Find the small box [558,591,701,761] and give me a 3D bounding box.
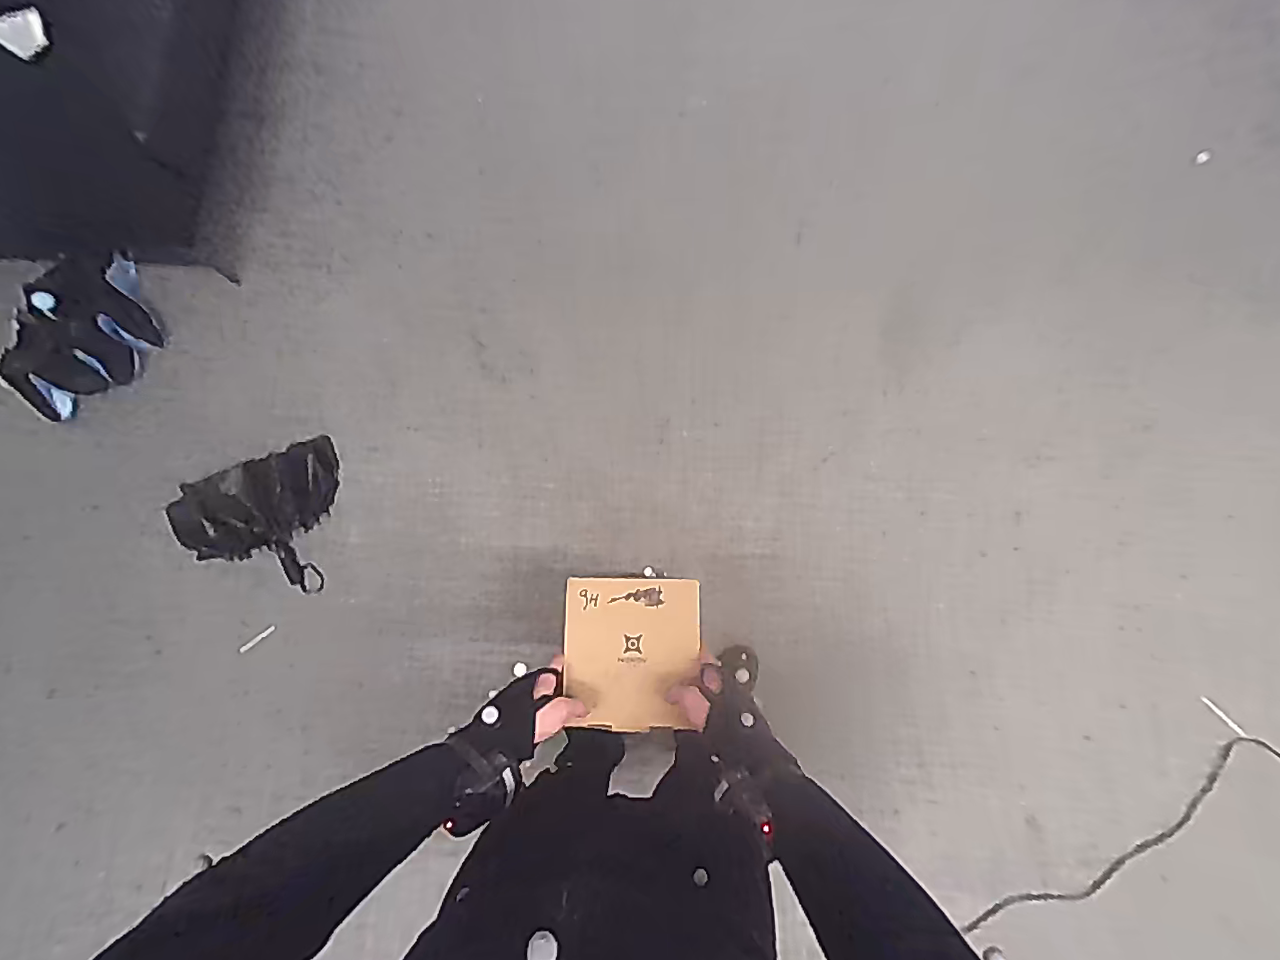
[{"bbox_3d":[-0.006,0.240,0.700,0.168,0.176,0.179,0,82,3],"label":"small box"}]
